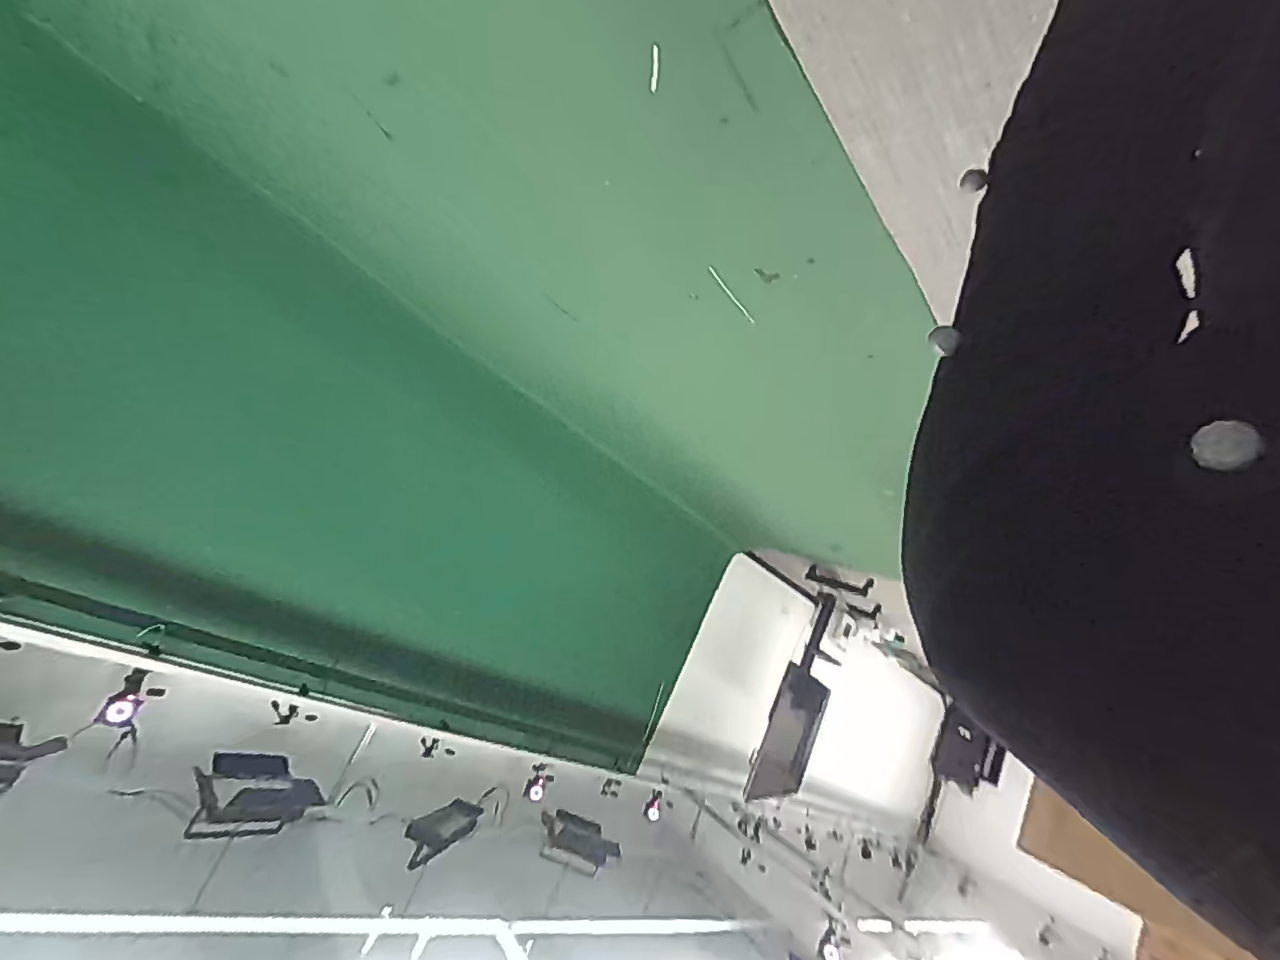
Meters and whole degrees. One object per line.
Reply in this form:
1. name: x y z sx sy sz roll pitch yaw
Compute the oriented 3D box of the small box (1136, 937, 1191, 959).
1. small box: 1.490 1.409 1.494 0.179 0.176 0.168 37 163 -32
